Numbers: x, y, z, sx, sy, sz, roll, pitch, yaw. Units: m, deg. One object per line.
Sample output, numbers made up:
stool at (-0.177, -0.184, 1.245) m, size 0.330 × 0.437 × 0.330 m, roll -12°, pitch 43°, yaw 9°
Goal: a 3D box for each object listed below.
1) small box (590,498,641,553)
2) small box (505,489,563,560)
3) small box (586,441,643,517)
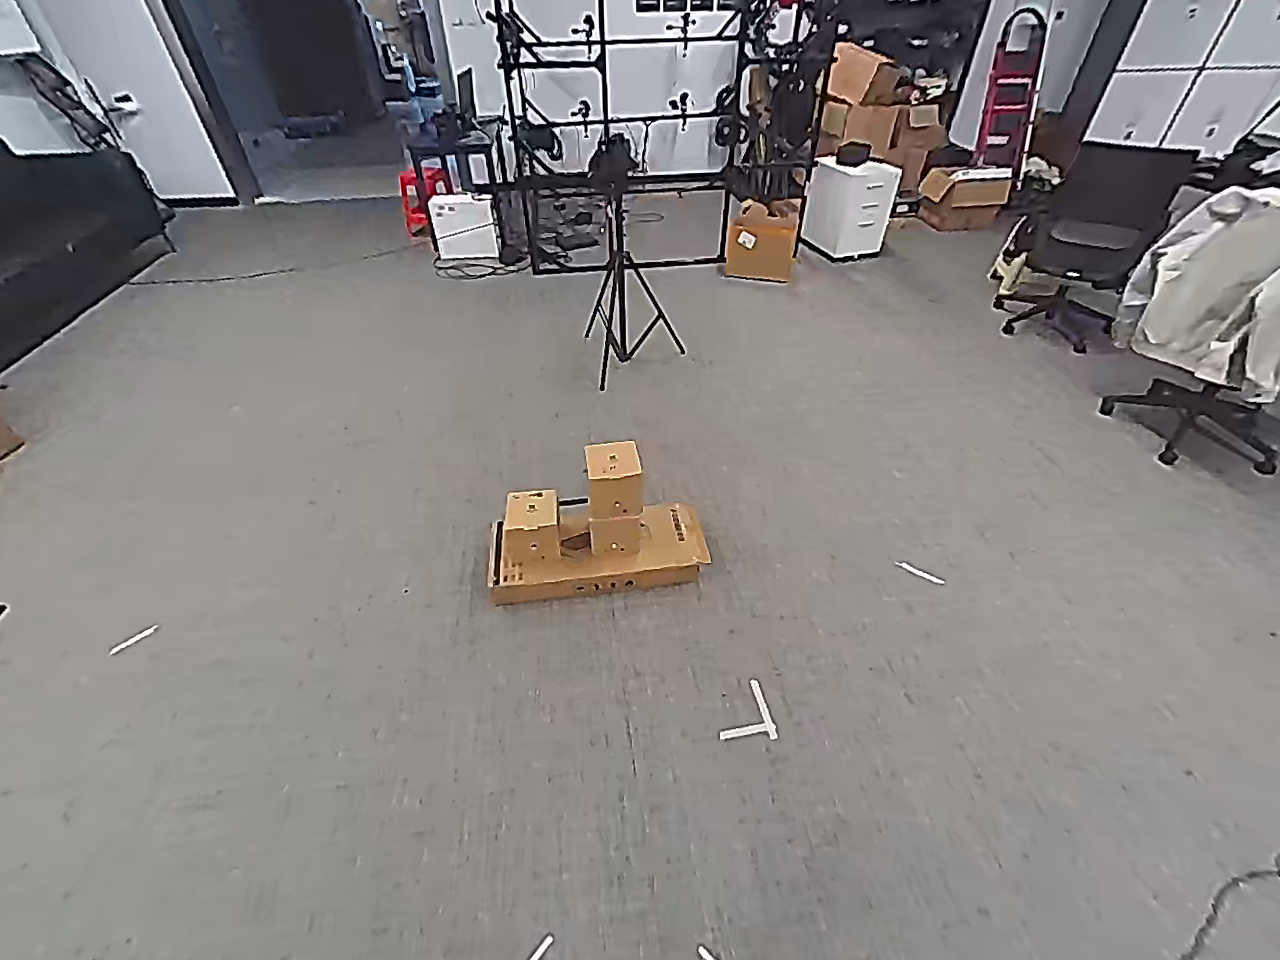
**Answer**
small box at (-0.085, 0.130, 1.852) m, size 0.168 × 0.176 × 0.179 m, roll -4°, pitch 42°, yaw -3°
small box at (-0.352, 0.155, 1.824) m, size 0.168 × 0.176 × 0.179 m, roll -6°, pitch 43°, yaw -4°
small box at (-0.084, -0.004, 1.754) m, size 0.168 × 0.176 × 0.179 m, roll -7°, pitch 42°, yaw -6°
